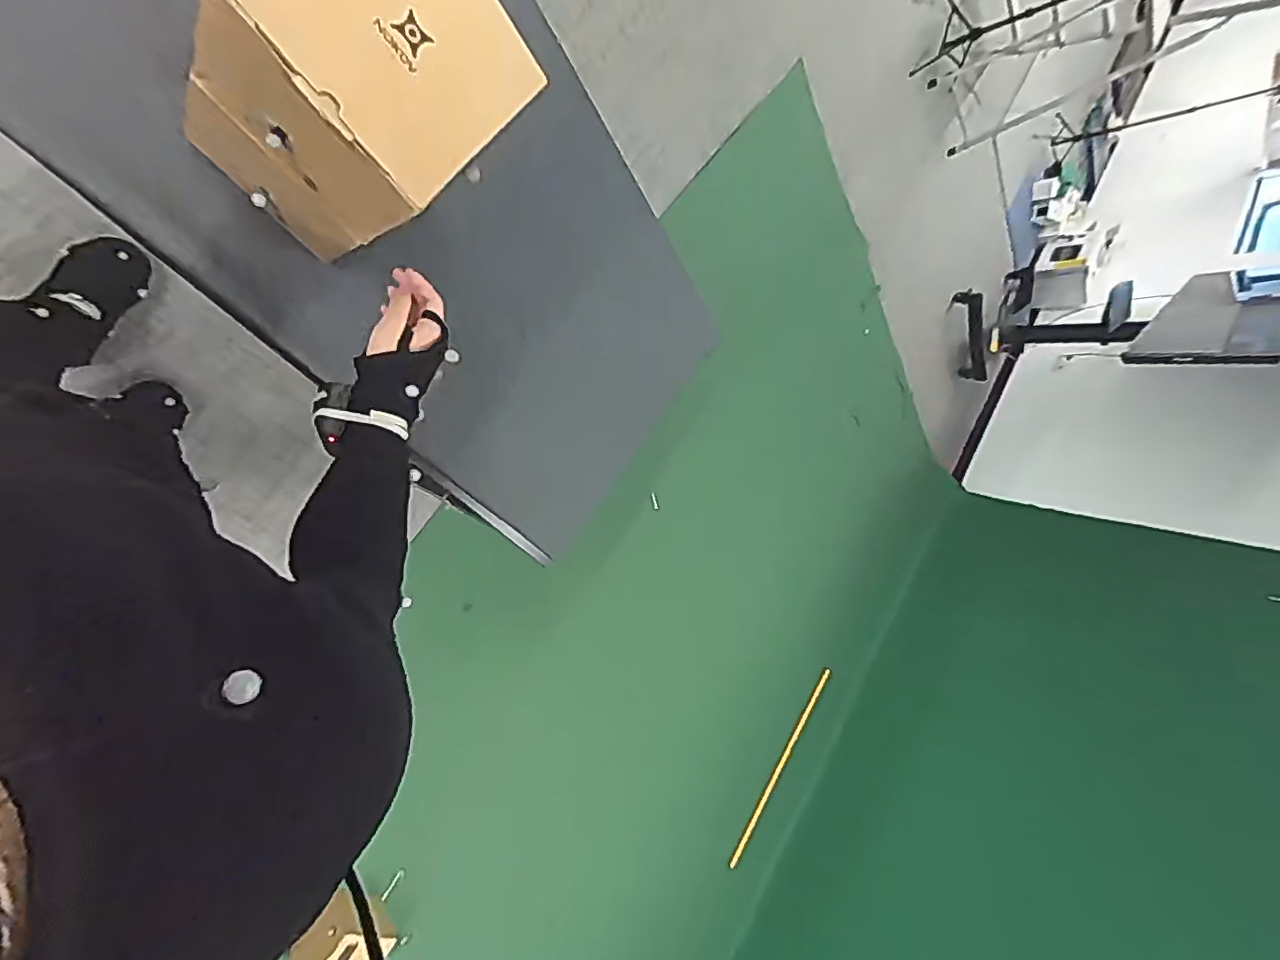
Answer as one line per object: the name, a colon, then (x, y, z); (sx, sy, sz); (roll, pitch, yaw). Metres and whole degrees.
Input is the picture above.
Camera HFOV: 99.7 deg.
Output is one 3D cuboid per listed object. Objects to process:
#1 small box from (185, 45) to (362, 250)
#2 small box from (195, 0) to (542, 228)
small box: (-0.330, -0.370, 0.563); (0.179, 0.176, 0.168); (-56, 130, -17)
small box: (-0.223, -0.340, 0.445); (0.179, 0.176, 0.168); (-56, 131, -17)
